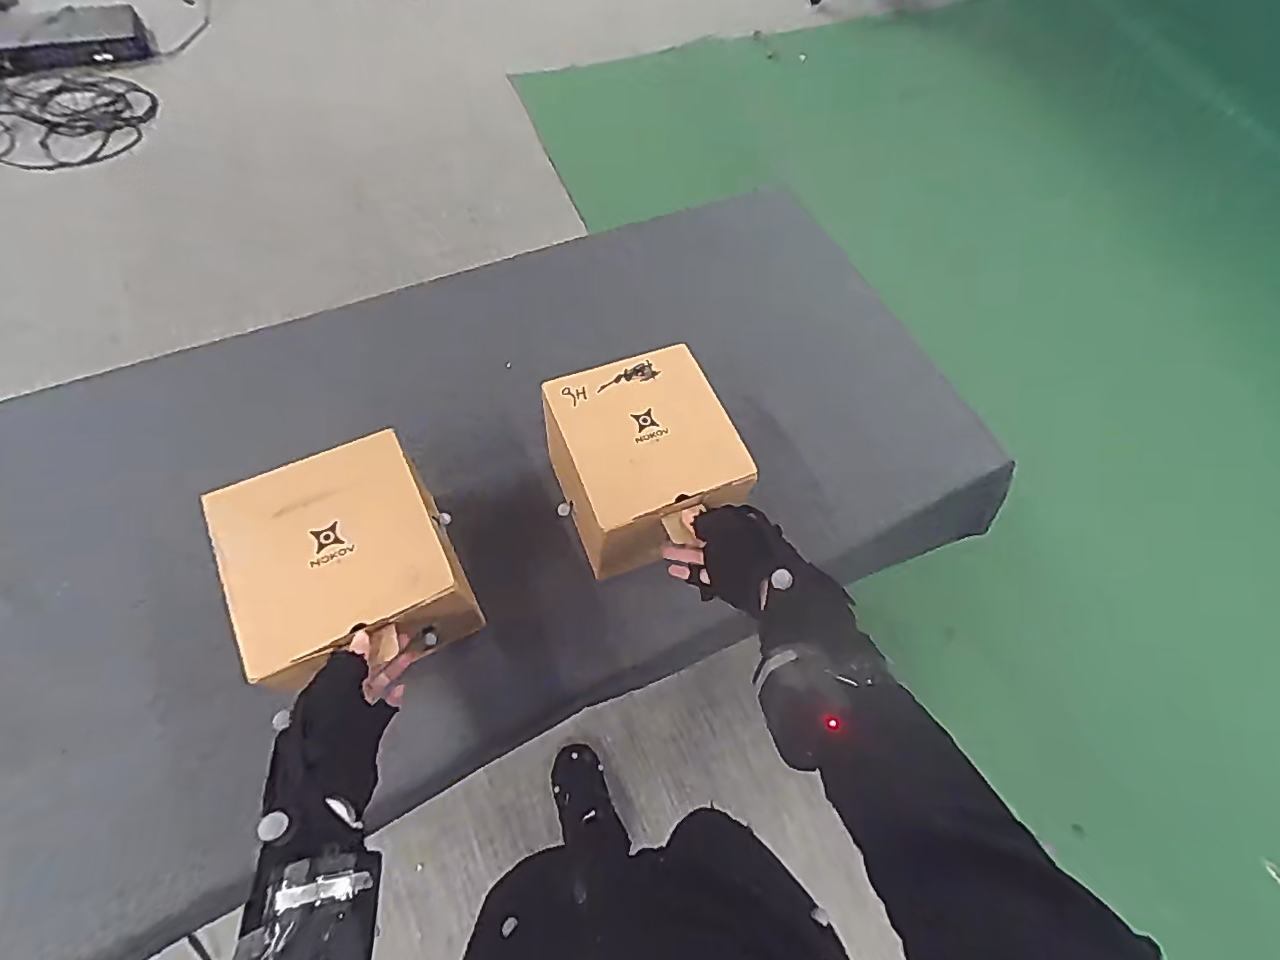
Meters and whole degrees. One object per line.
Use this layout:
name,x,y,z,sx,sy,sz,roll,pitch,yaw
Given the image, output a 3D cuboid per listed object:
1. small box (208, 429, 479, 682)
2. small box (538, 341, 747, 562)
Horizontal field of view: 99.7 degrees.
small box,-0.278,0.086,0.544,0.168,0.176,0.179,-25,69,-18
small box,-0.005,-0.021,0.614,0.168,0.176,0.179,-19,68,-14
